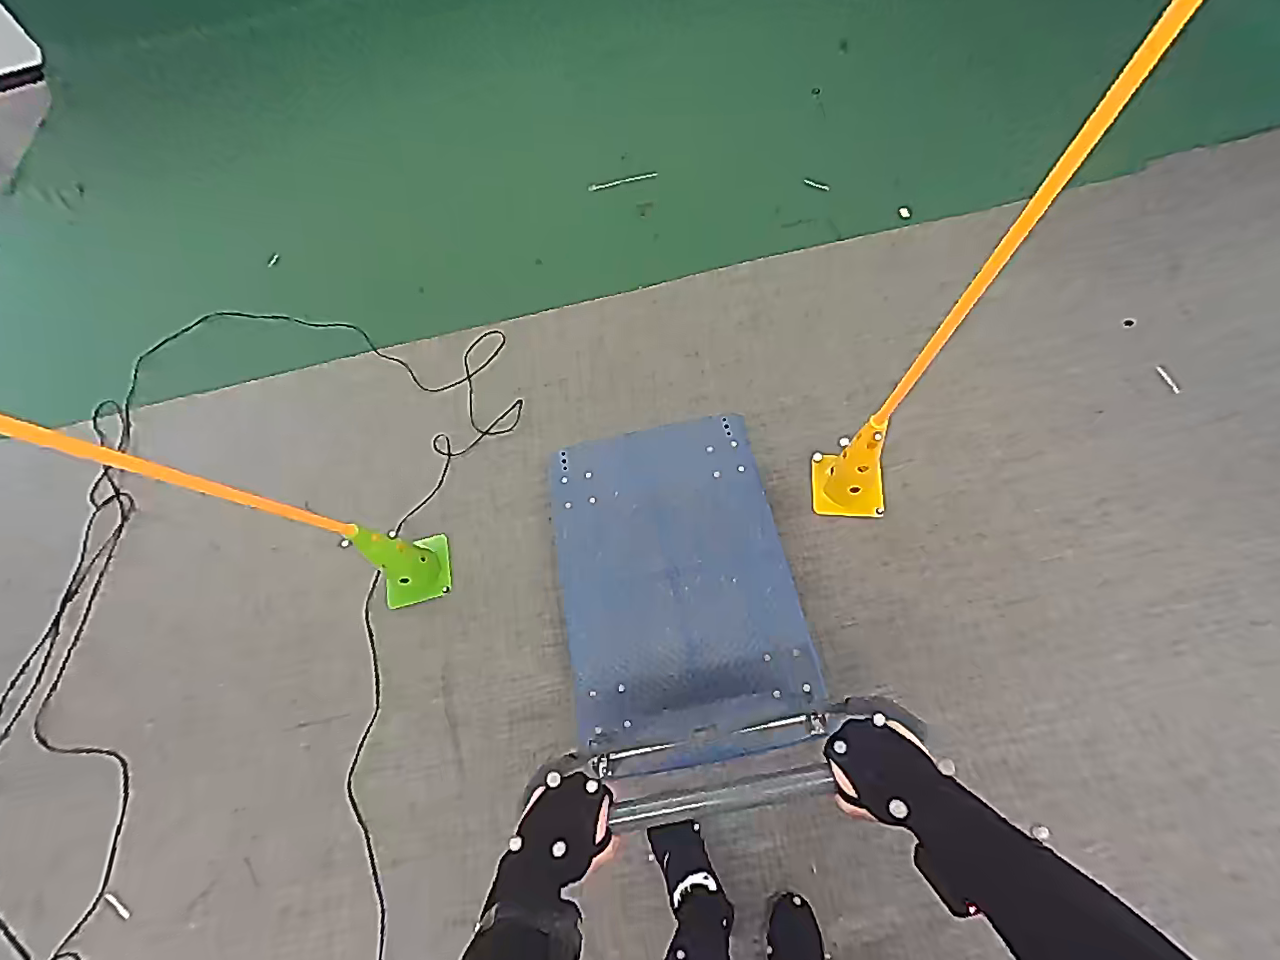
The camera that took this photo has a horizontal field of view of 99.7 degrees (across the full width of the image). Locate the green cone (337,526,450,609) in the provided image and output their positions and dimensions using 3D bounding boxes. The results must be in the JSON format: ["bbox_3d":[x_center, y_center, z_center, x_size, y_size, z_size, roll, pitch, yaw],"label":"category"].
[{"bbox_3d":[-0.711,0.205,1.514,0.202,0.368,0.200,-17,62,1],"label":"green cone"}]
